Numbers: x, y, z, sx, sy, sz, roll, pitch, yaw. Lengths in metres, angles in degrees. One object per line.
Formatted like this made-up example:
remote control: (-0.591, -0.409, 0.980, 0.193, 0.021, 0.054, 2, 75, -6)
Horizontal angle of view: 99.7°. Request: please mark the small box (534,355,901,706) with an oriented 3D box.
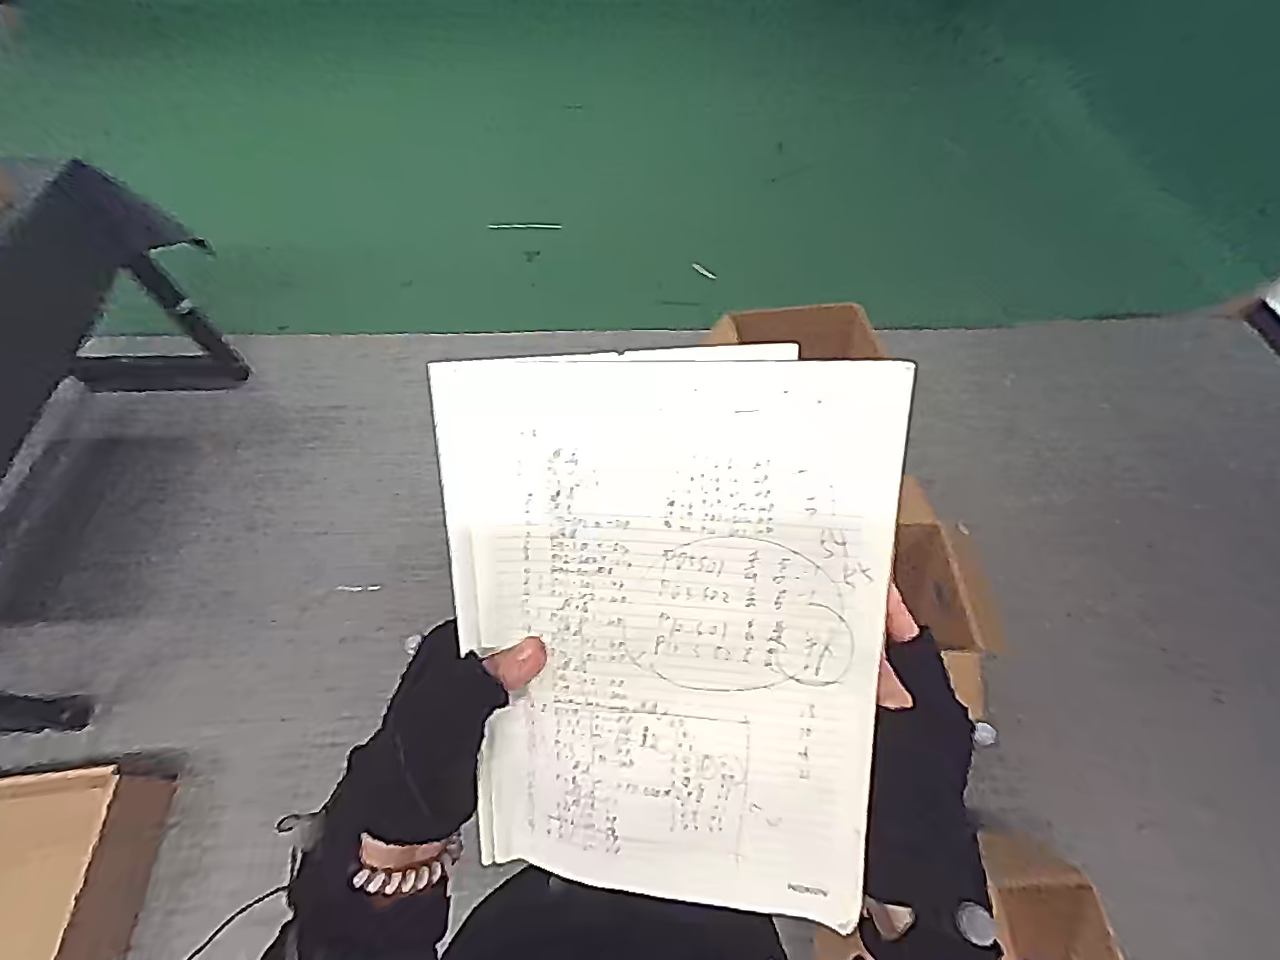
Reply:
small box: (0.046, 0.030, 0.362, 0.179, 0.176, 0.168, 8, 85, 4)
